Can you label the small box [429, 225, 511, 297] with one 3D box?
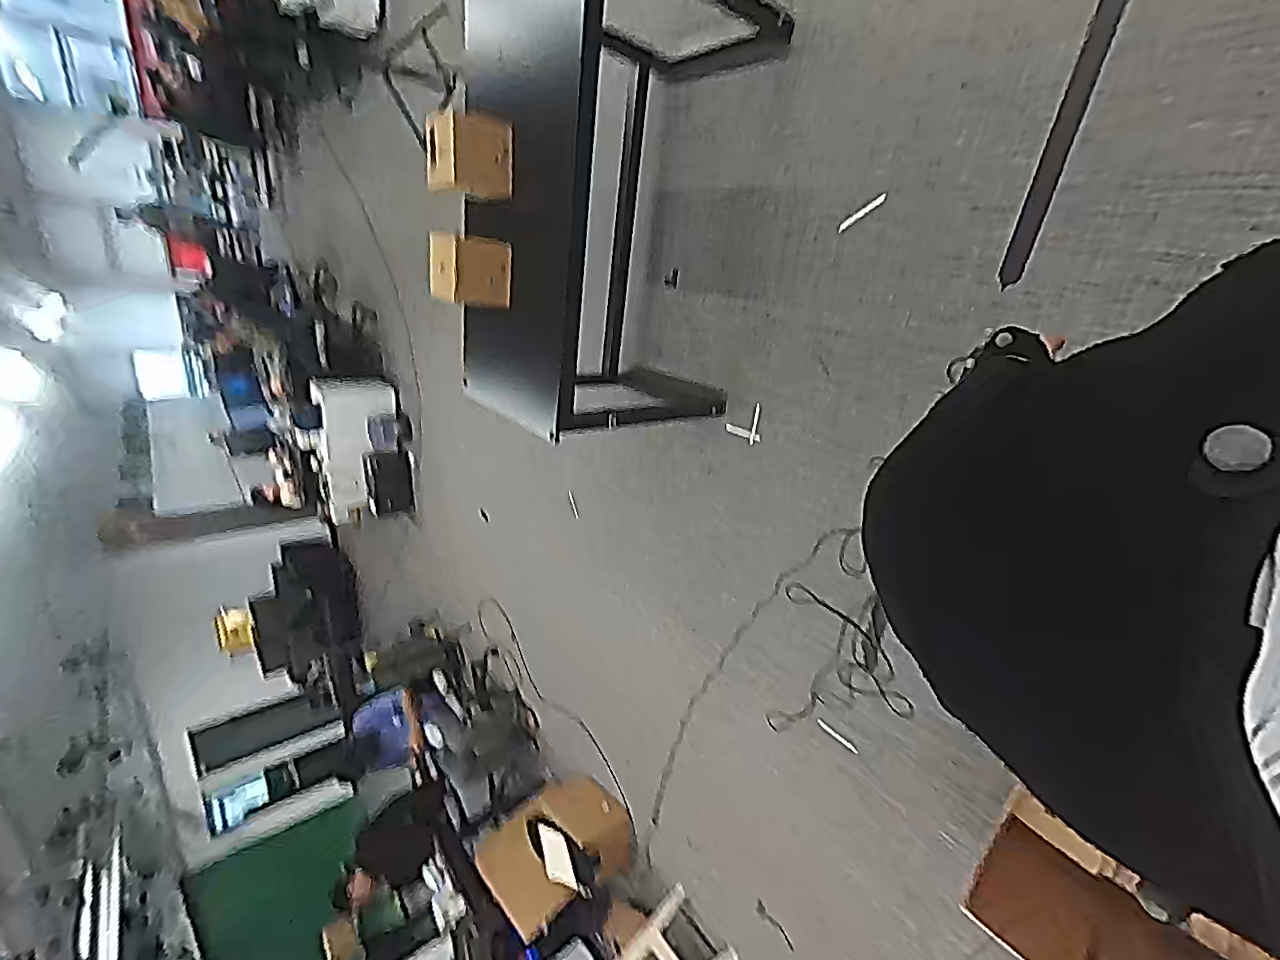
[{"bbox_3d":[-0.489,-0.626,1.551,0.179,0.176,0.168,30,121,42],"label":"small box"}]
